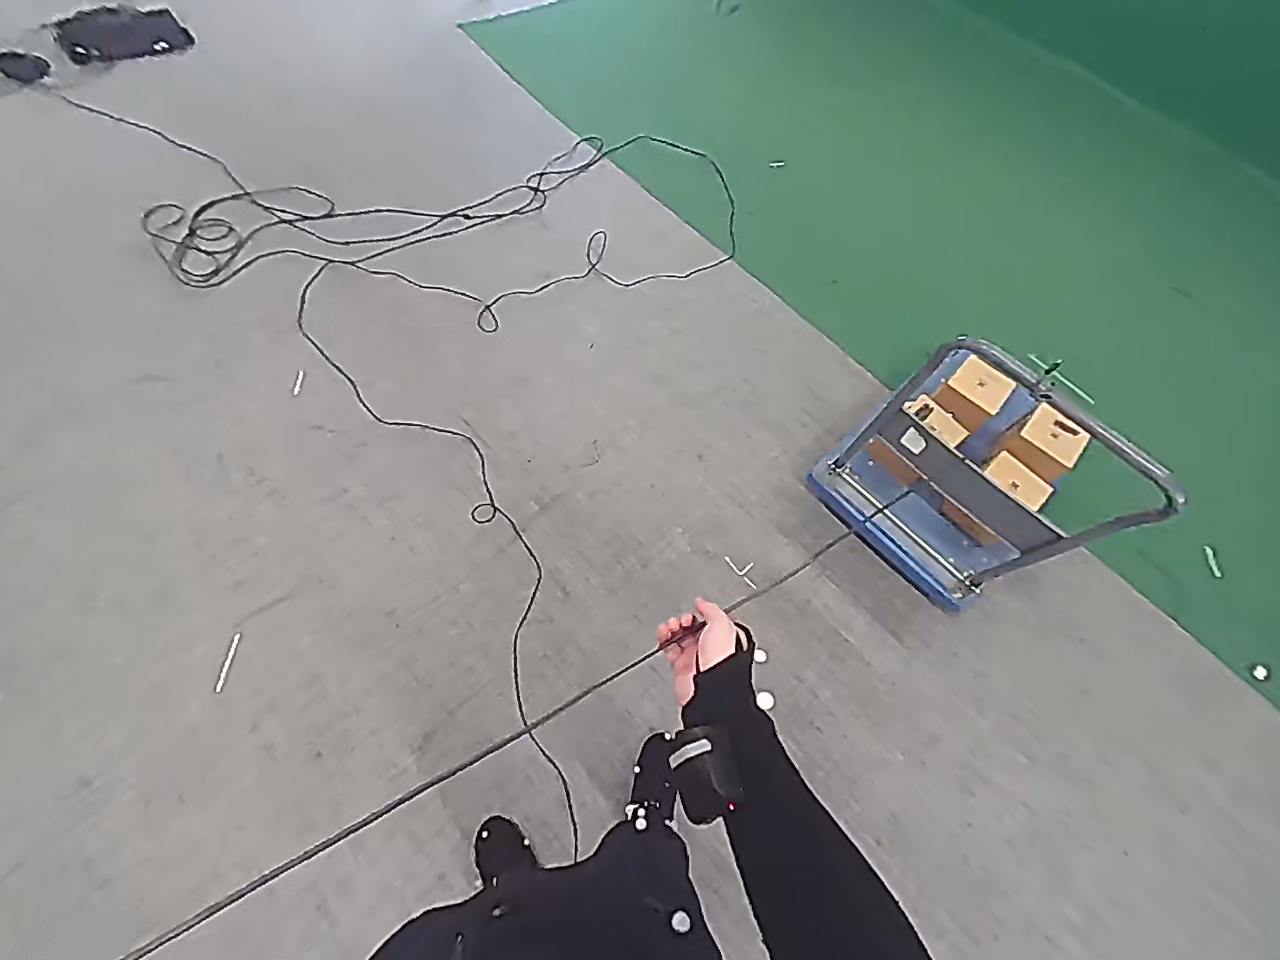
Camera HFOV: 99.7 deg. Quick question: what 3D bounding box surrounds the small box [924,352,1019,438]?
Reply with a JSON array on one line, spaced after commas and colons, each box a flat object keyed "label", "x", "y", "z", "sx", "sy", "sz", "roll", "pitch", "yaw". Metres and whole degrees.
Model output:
[{"label": "small box", "x": 1.051, "y": -0.267, "z": 1.733, "sx": 0.168, "sy": 0.176, "sz": 0.179, "roll": 42, "pitch": 66, "yaw": 14}]

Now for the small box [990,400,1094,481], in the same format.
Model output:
[{"label": "small box", "x": 1.234, "y": -0.106, "z": 1.672, "sx": 0.168, "sy": 0.176, "sz": 0.179, "roll": 42, "pitch": 67, "yaw": 15}]

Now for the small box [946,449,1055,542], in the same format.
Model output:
[{"label": "small box", "x": 1.037, "y": 0.049, "z": 1.570, "sx": 0.179, "sy": 0.176, "sz": 0.168, "roll": -37, "pitch": 73, "yaw": -21}]
